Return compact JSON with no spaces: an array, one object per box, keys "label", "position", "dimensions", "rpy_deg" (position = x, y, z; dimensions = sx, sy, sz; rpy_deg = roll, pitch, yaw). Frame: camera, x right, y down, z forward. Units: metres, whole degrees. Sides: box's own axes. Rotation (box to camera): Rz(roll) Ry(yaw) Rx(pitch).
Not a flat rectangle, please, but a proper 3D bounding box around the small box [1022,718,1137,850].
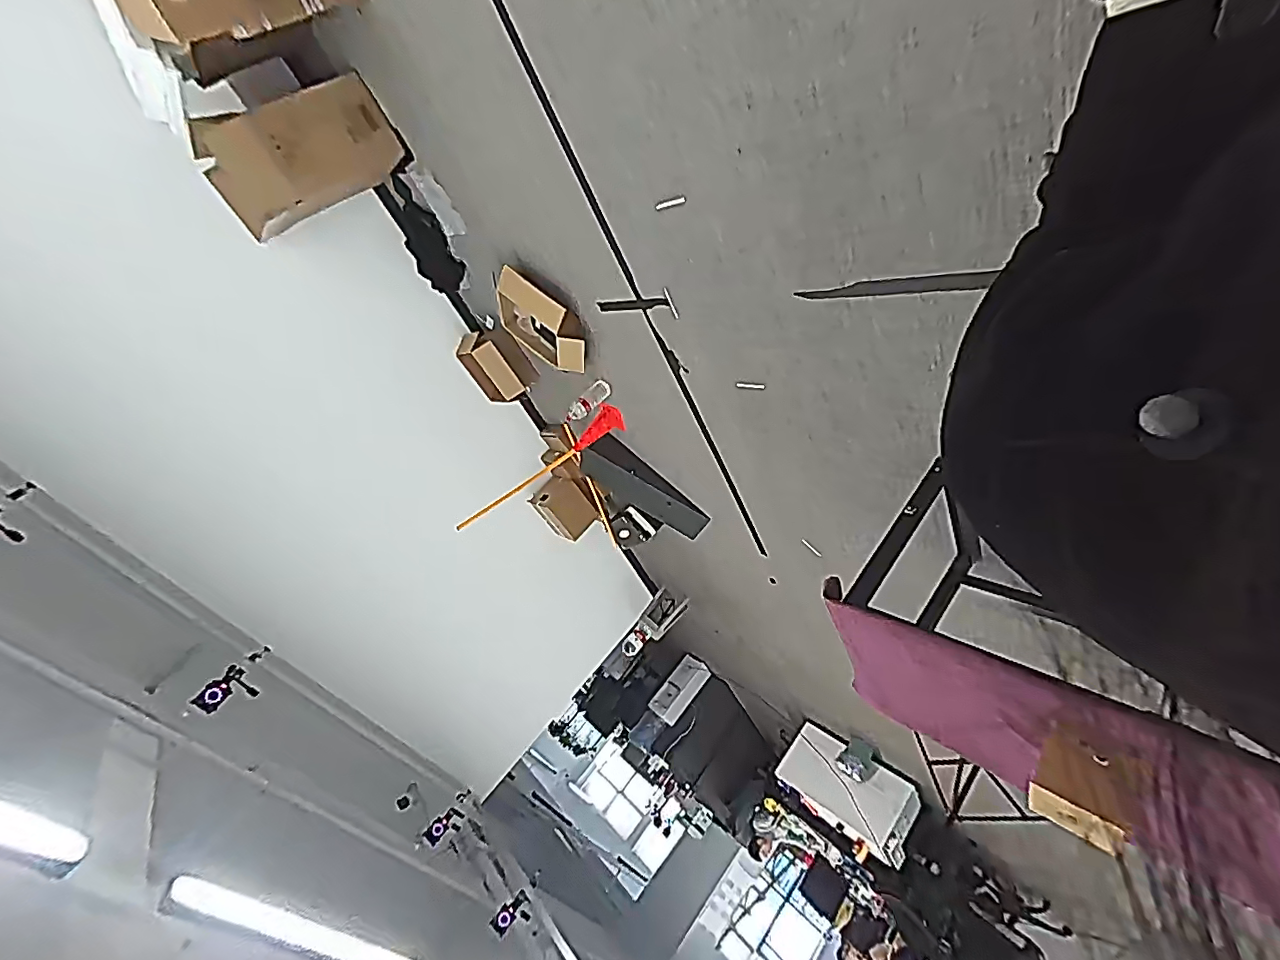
[{"label":"small box","position":[0.992,0.682,1.225],"dimensions":[0.168,0.176,0.179],"rpy_deg":[17,146,46]}]
